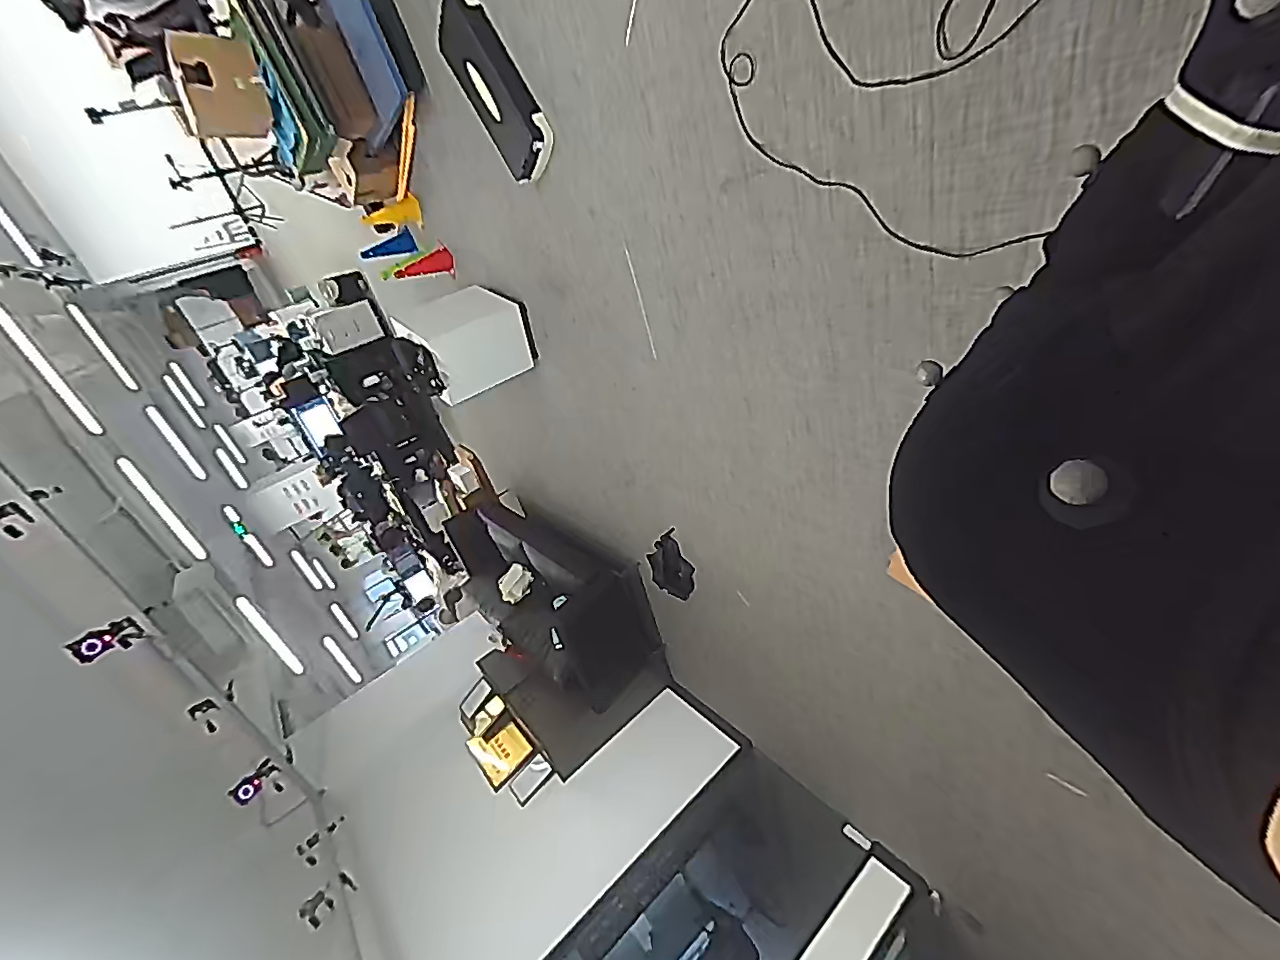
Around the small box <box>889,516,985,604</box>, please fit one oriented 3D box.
[{"bbox_3d":[0.897,0.234,1.640,0.179,0.176,0.168,36,147,35],"label":"small box"}]
